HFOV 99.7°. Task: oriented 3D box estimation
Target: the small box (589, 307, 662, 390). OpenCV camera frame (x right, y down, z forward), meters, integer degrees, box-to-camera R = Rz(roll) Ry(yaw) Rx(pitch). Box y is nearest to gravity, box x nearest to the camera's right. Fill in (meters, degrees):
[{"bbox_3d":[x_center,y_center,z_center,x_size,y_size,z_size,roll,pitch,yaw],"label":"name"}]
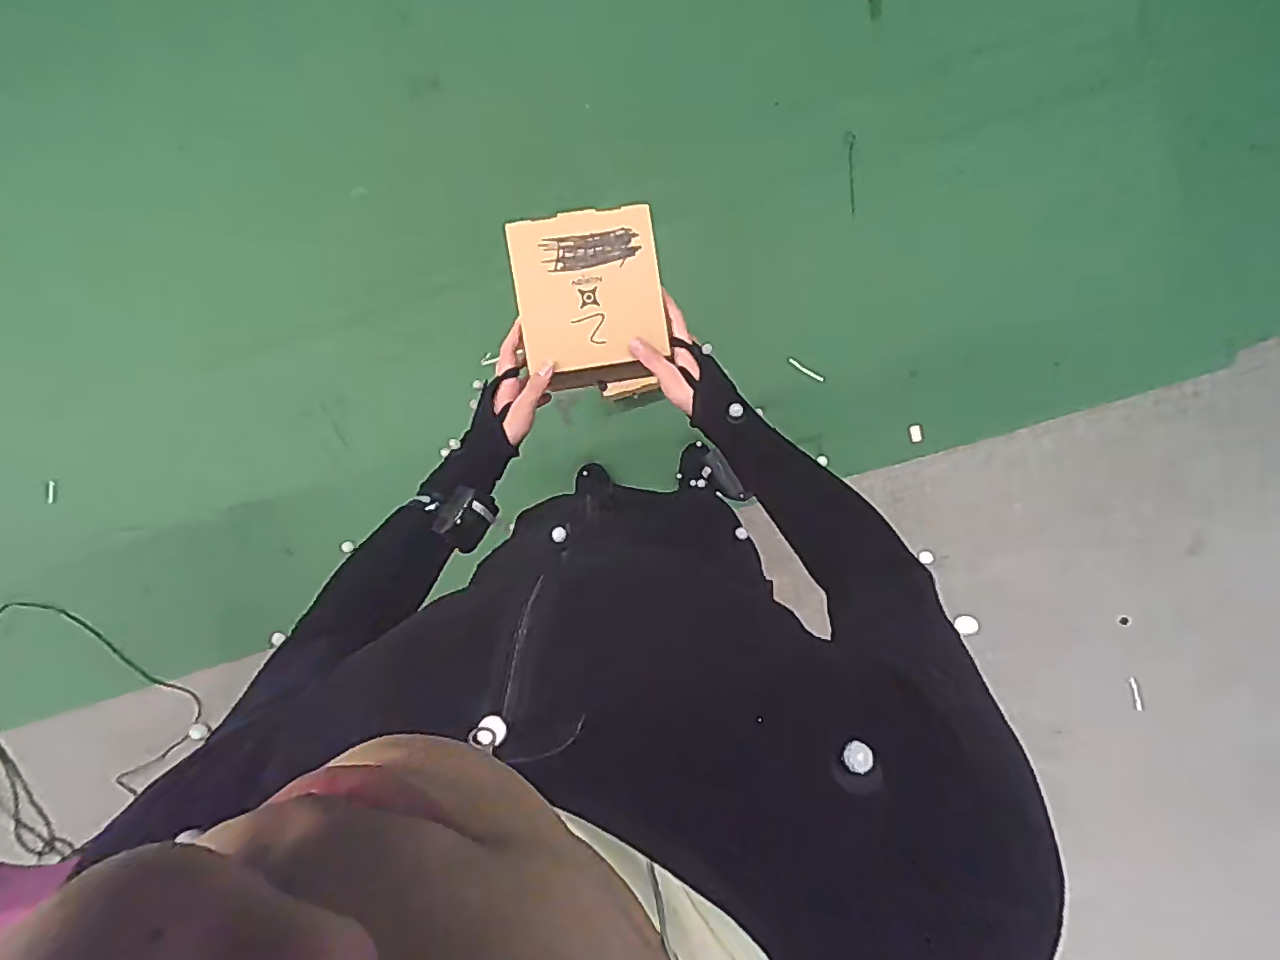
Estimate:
[{"bbox_3d":[-0.038,-0.363,1.522,0.168,0.176,0.179,-15,95,4],"label":"small box"}]
